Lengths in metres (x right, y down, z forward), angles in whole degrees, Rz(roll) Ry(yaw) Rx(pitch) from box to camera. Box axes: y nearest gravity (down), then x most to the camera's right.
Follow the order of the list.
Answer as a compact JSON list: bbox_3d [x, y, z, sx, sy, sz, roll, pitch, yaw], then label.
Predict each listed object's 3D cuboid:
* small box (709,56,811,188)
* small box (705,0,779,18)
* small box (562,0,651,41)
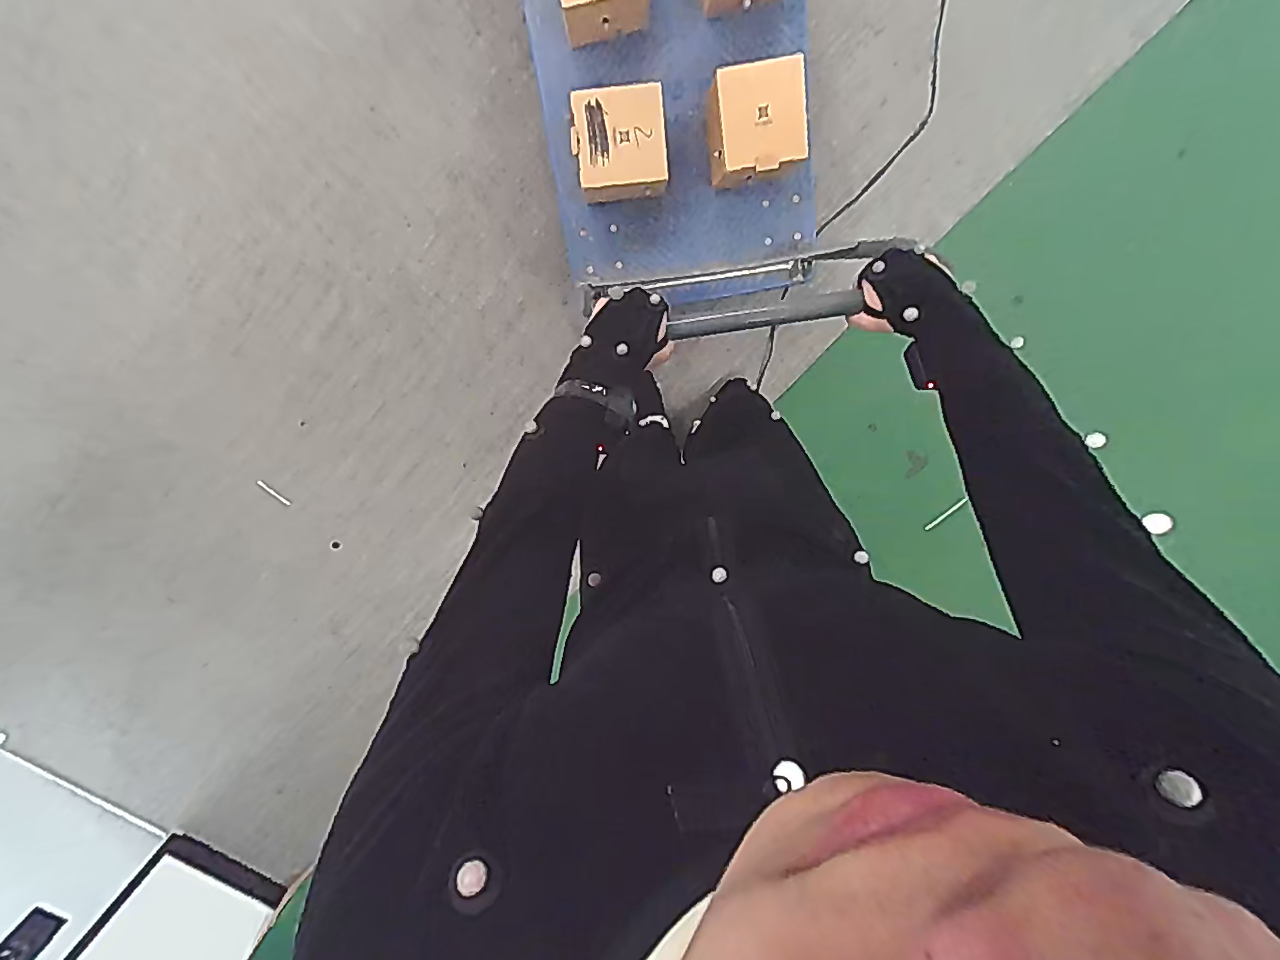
[{"bbox_3d":[0.240,-0.720,1.105,0.168,0.176,0.179,-9,109,2],"label":"small box"},{"bbox_3d":[0.201,-1.016,1.002,0.168,0.176,0.179,-13,109,4],"label":"small box"},{"bbox_3d":[-0.074,-0.966,1.013,0.168,0.176,0.179,-12,108,2],"label":"small box"}]
